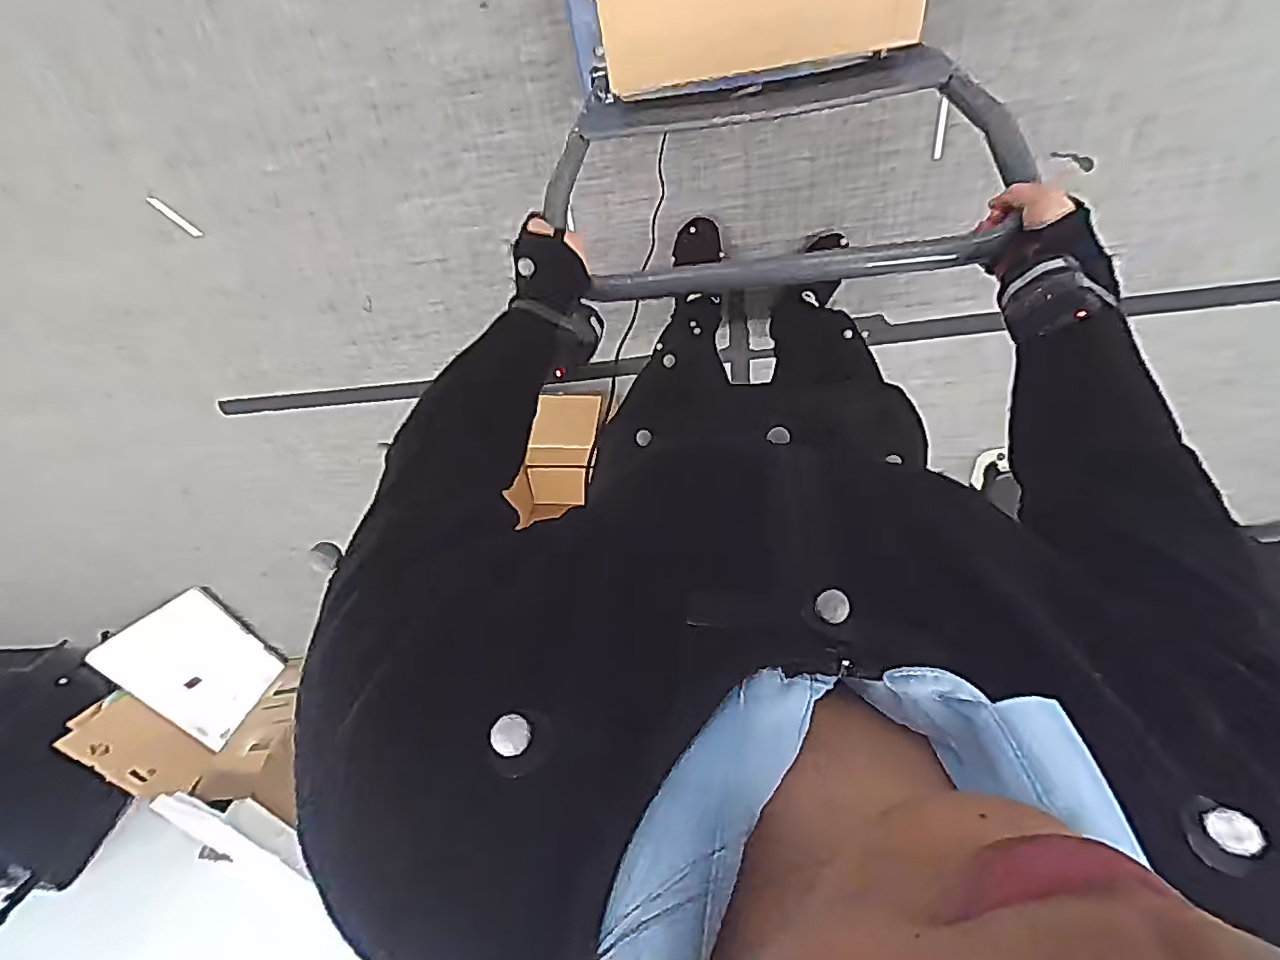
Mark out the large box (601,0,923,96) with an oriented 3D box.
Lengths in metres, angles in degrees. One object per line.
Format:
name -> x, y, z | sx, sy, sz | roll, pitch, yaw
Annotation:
large box -> 0.144, -0.767, 0.726 | 0.408, 0.320, 0.320 | -4, 136, 10
